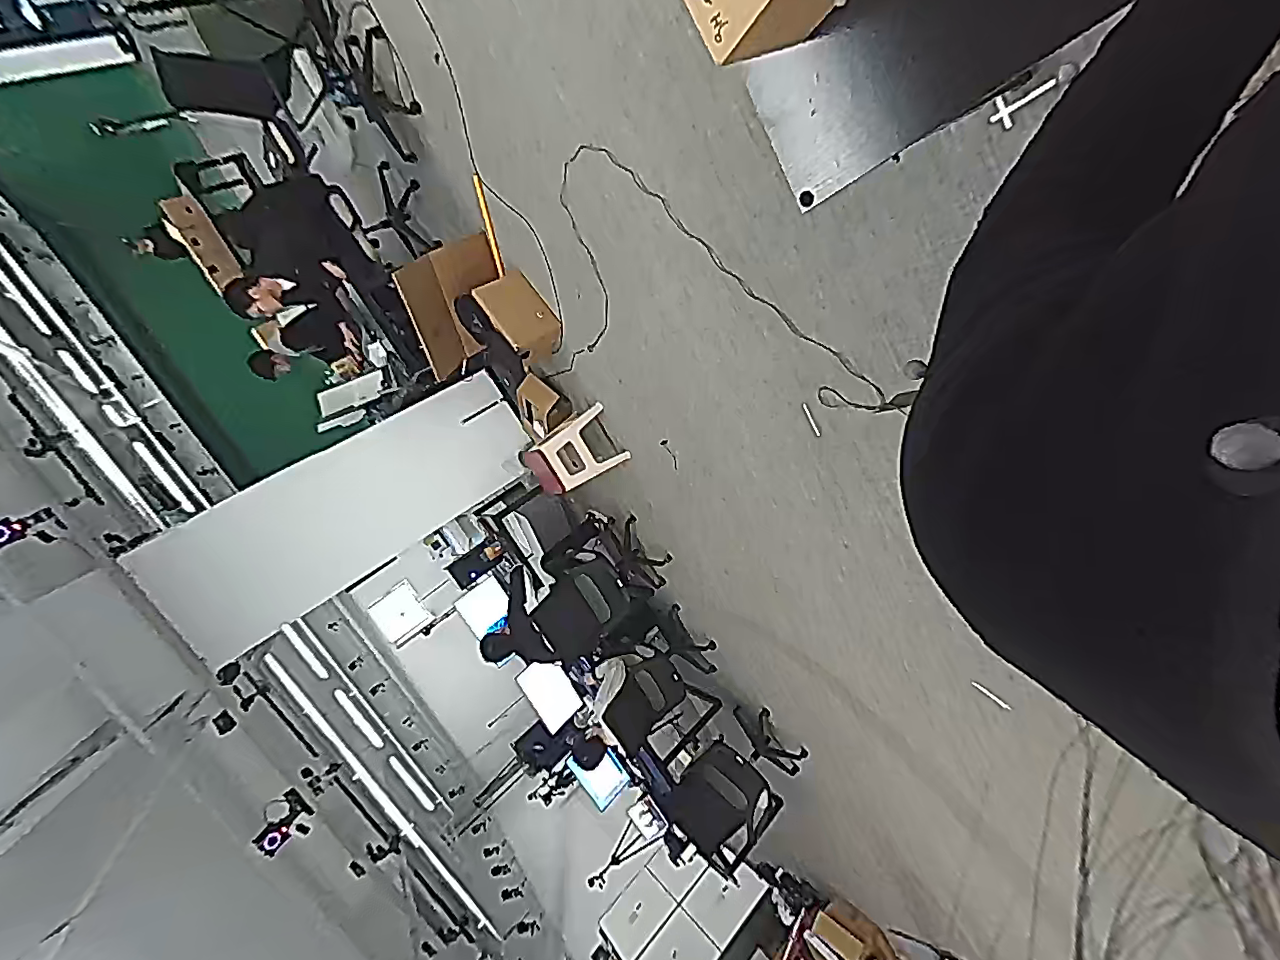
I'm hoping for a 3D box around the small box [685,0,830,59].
[{"bbox_3d":[0.144,-0.603,0.570,0.168,0.176,0.179,59,151,-11],"label":"small box"}]
